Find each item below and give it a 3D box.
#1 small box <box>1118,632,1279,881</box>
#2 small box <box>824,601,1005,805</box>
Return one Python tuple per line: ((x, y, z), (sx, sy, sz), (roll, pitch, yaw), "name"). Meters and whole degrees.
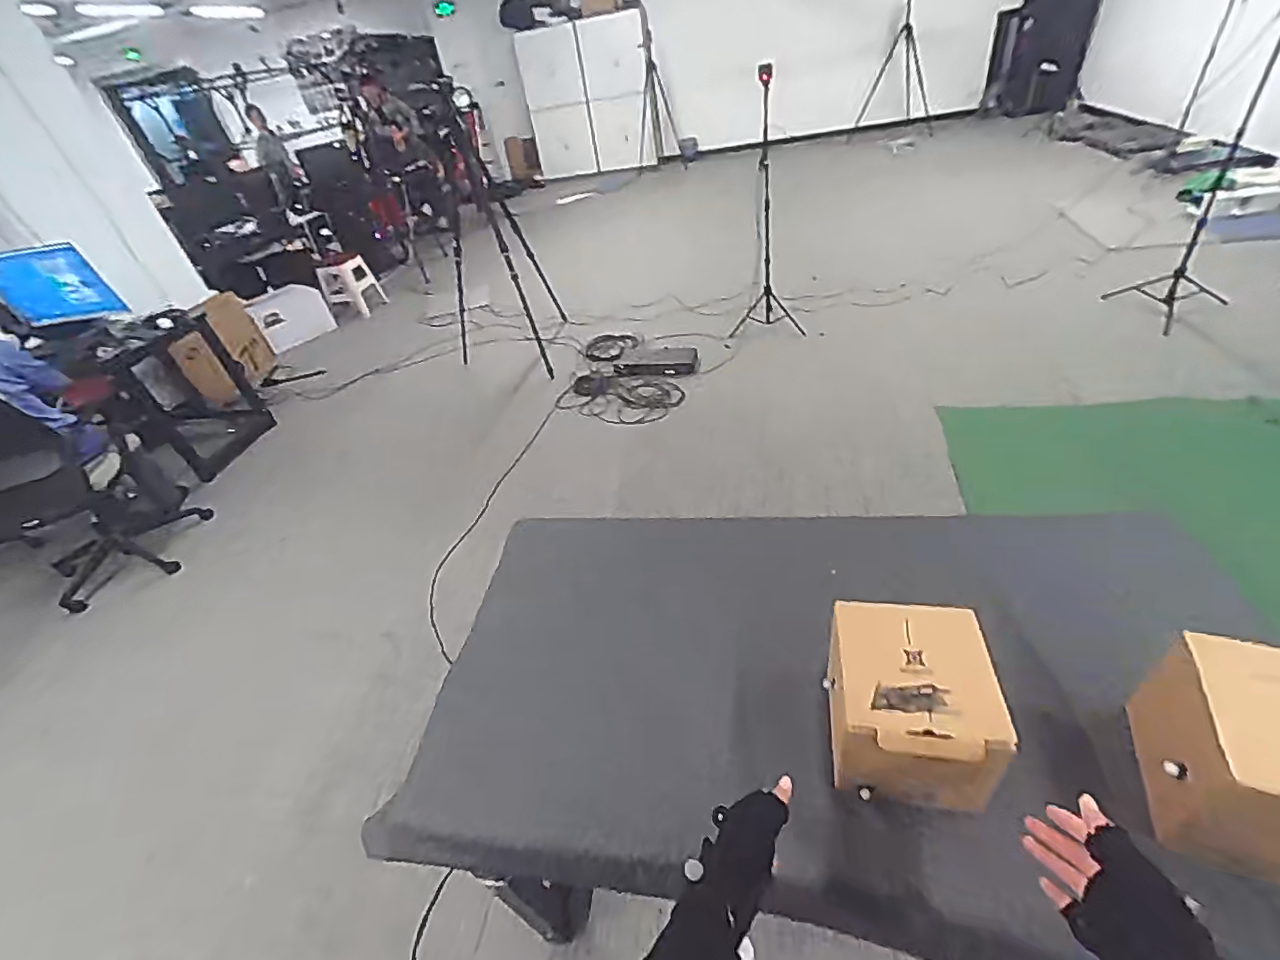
((0.656, 0.300, 0.576), (0.168, 0.176, 0.179), (9, 41, 23), "small box")
((0.326, 0.279, 0.682), (0.168, 0.176, 0.179), (1, 39, 14), "small box")
